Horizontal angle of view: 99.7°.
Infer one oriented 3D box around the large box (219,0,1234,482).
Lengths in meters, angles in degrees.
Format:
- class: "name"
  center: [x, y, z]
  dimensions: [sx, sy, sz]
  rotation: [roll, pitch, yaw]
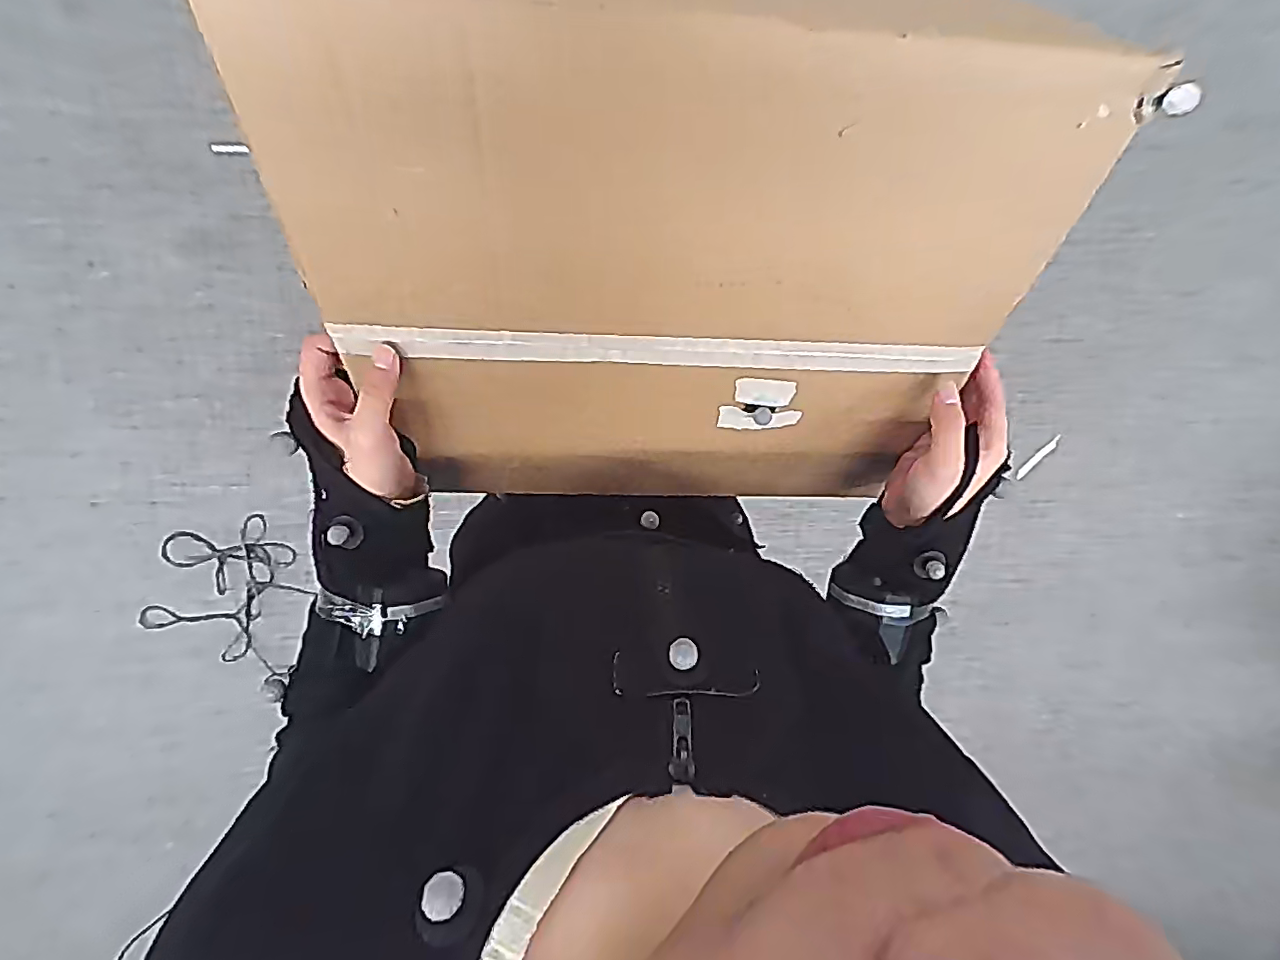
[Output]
- class: "large box"
  center: [0.022, -0.212, 0.407]
  dimensions: [0.408, 0.320, 0.320]
  rotation: [0, 142, -6]
